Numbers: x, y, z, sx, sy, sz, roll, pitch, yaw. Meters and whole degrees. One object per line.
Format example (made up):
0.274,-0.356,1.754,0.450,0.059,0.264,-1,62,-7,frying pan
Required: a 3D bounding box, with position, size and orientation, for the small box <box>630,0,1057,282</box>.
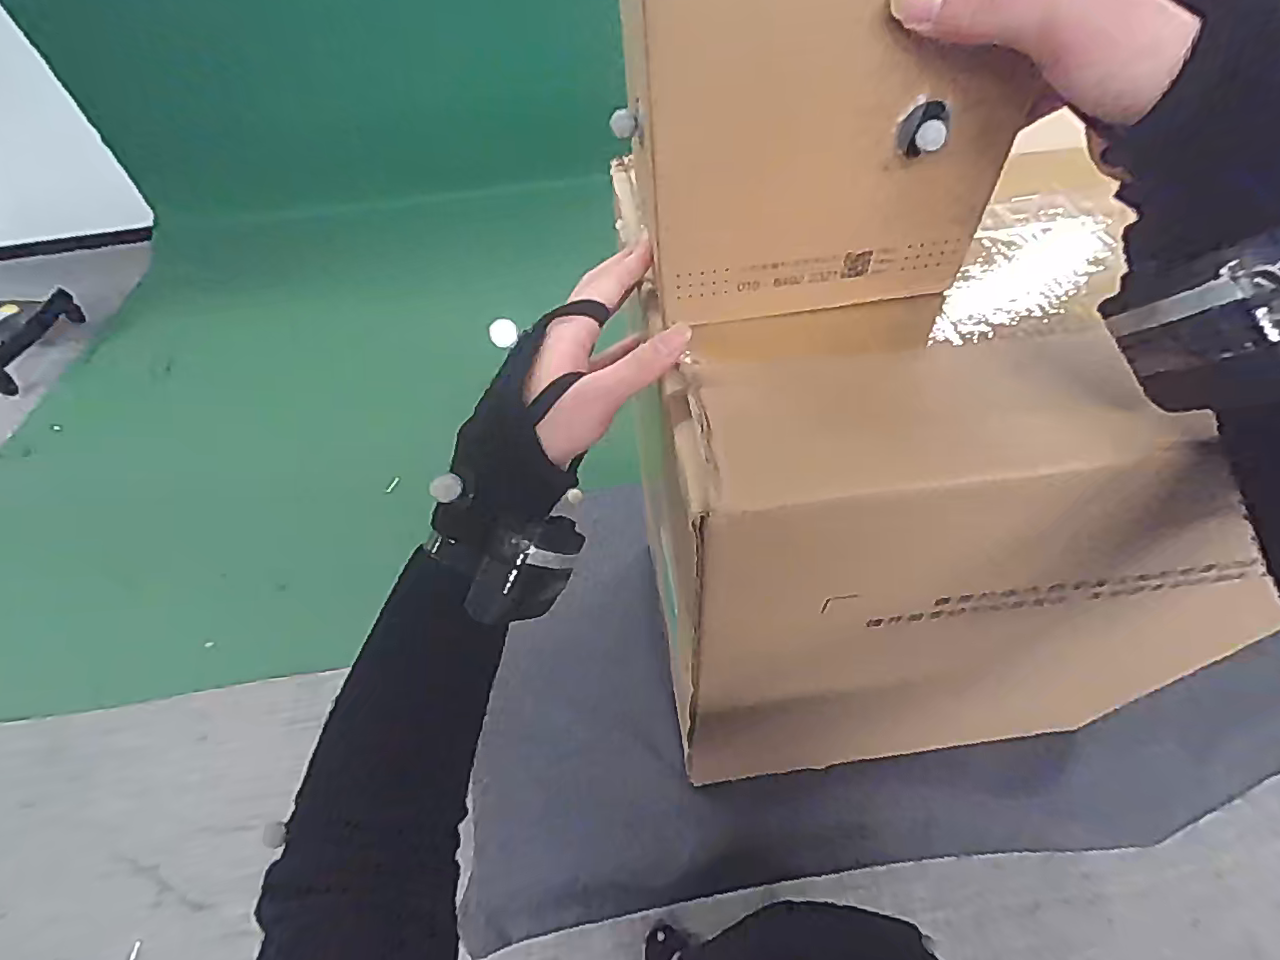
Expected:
0.084,-0.220,0.286,0.168,0.176,0.179,-6,51,-2,small box
